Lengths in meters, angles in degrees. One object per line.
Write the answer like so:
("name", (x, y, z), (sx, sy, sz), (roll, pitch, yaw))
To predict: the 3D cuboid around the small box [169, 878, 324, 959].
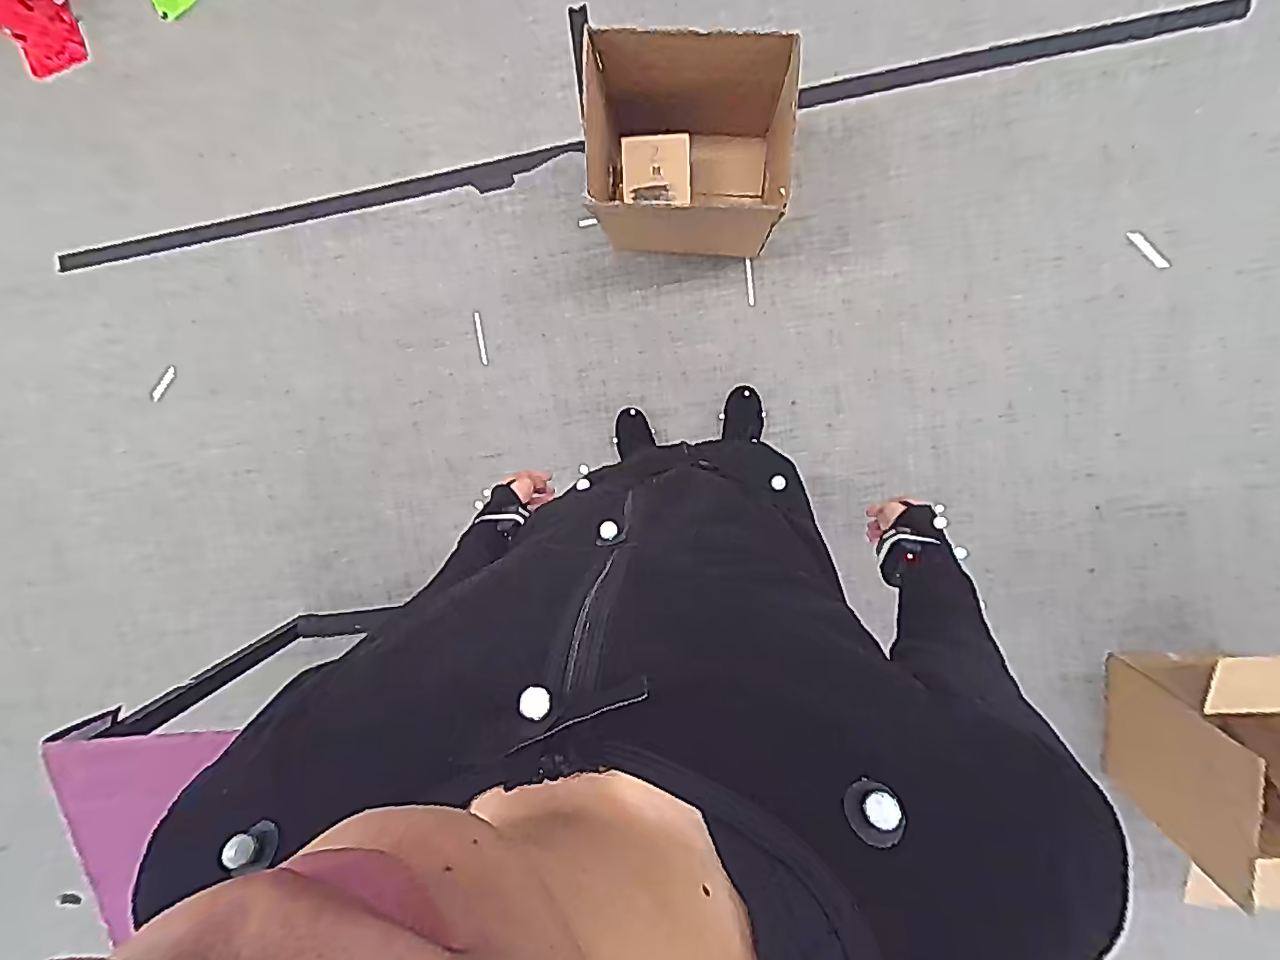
("small box", (-0.765, 0.931, 1.073), (0.179, 0.176, 0.168), (-11, 99, 10))
